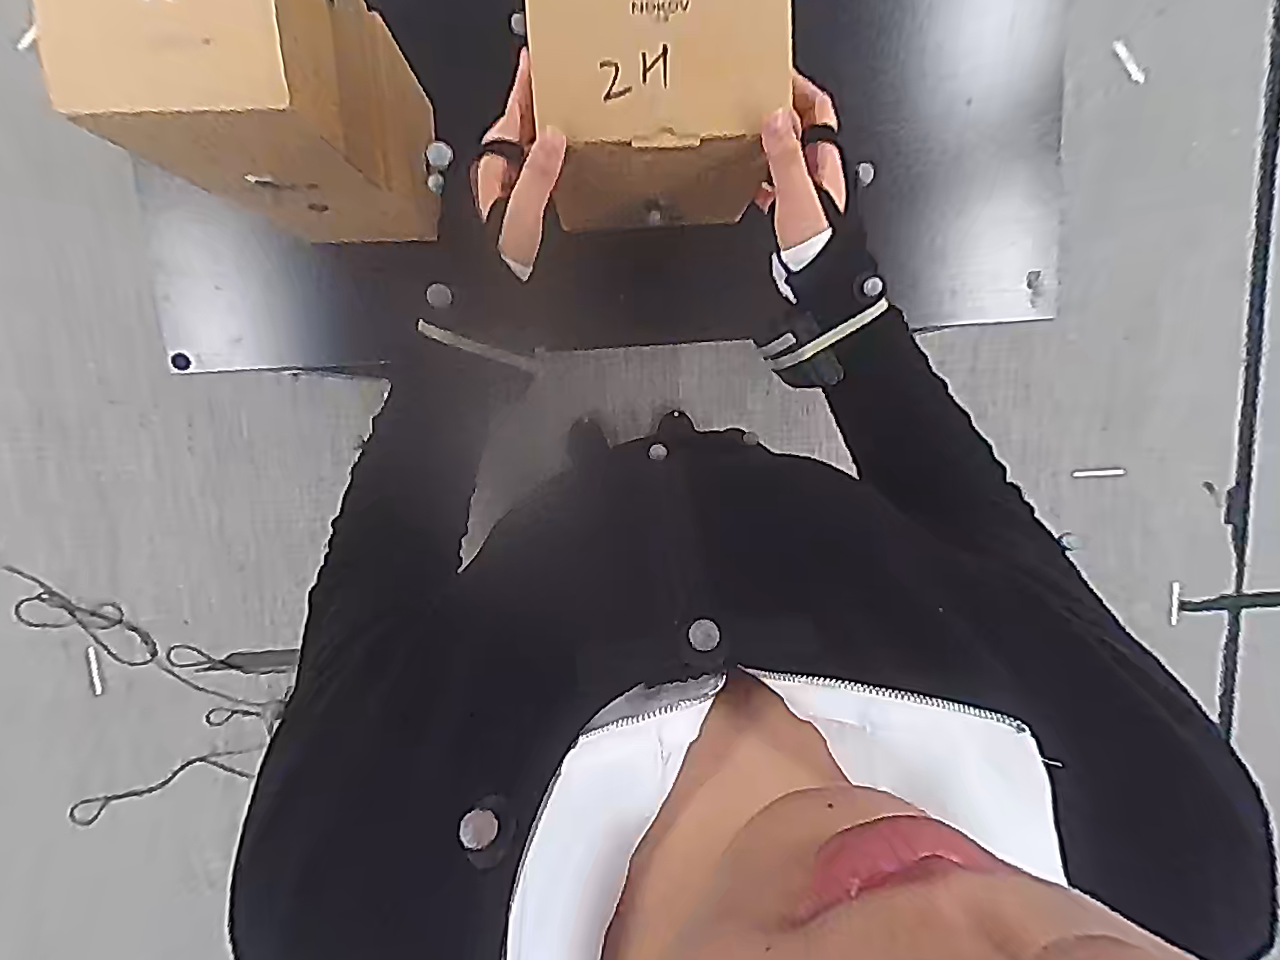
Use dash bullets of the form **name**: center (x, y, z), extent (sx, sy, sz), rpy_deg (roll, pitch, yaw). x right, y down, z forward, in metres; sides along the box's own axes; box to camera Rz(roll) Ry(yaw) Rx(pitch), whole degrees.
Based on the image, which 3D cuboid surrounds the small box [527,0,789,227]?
- **small box**: center (0.006, -0.316, 0.414), extent (0.168, 0.176, 0.179), rpy_deg (-4, 97, -2)

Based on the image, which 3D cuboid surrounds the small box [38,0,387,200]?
- **small box**: center (-0.335, -0.360, 0.453), extent (0.168, 0.176, 0.179), rpy_deg (-4, 99, -1)

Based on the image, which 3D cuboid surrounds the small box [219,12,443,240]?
- **small box**: center (-0.342, -0.382, 0.613), extent (0.179, 0.176, 0.168), rpy_deg (-3, 98, -4)
